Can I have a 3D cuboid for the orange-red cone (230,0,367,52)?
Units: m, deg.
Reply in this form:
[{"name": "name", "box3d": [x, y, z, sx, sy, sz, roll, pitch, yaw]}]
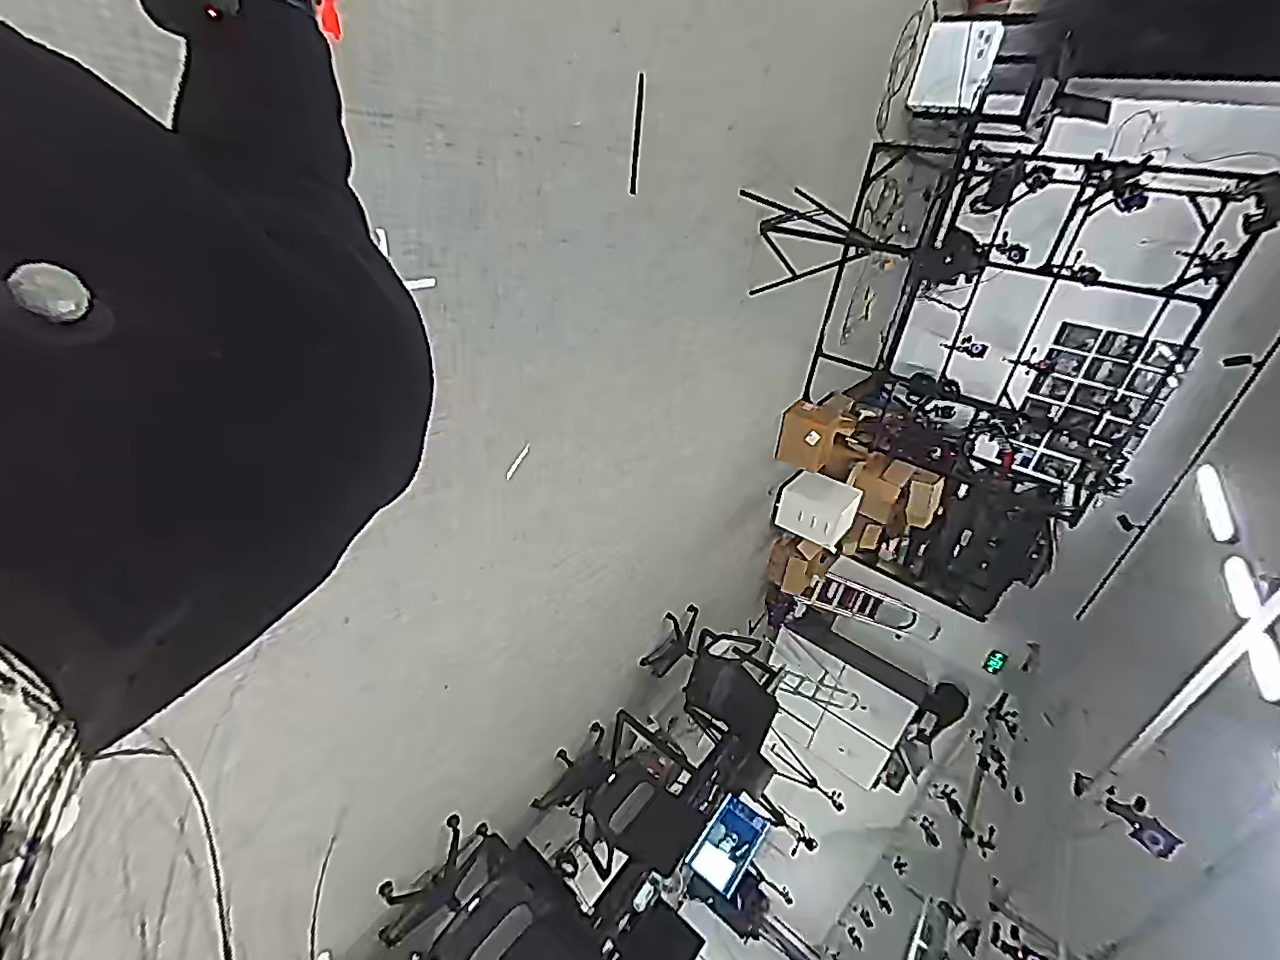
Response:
[{"name": "orange-red cone", "box3d": [-0.557, -0.881, 0.952, 0.199, 0.360, 0.198, -37, 142, -40]}]
